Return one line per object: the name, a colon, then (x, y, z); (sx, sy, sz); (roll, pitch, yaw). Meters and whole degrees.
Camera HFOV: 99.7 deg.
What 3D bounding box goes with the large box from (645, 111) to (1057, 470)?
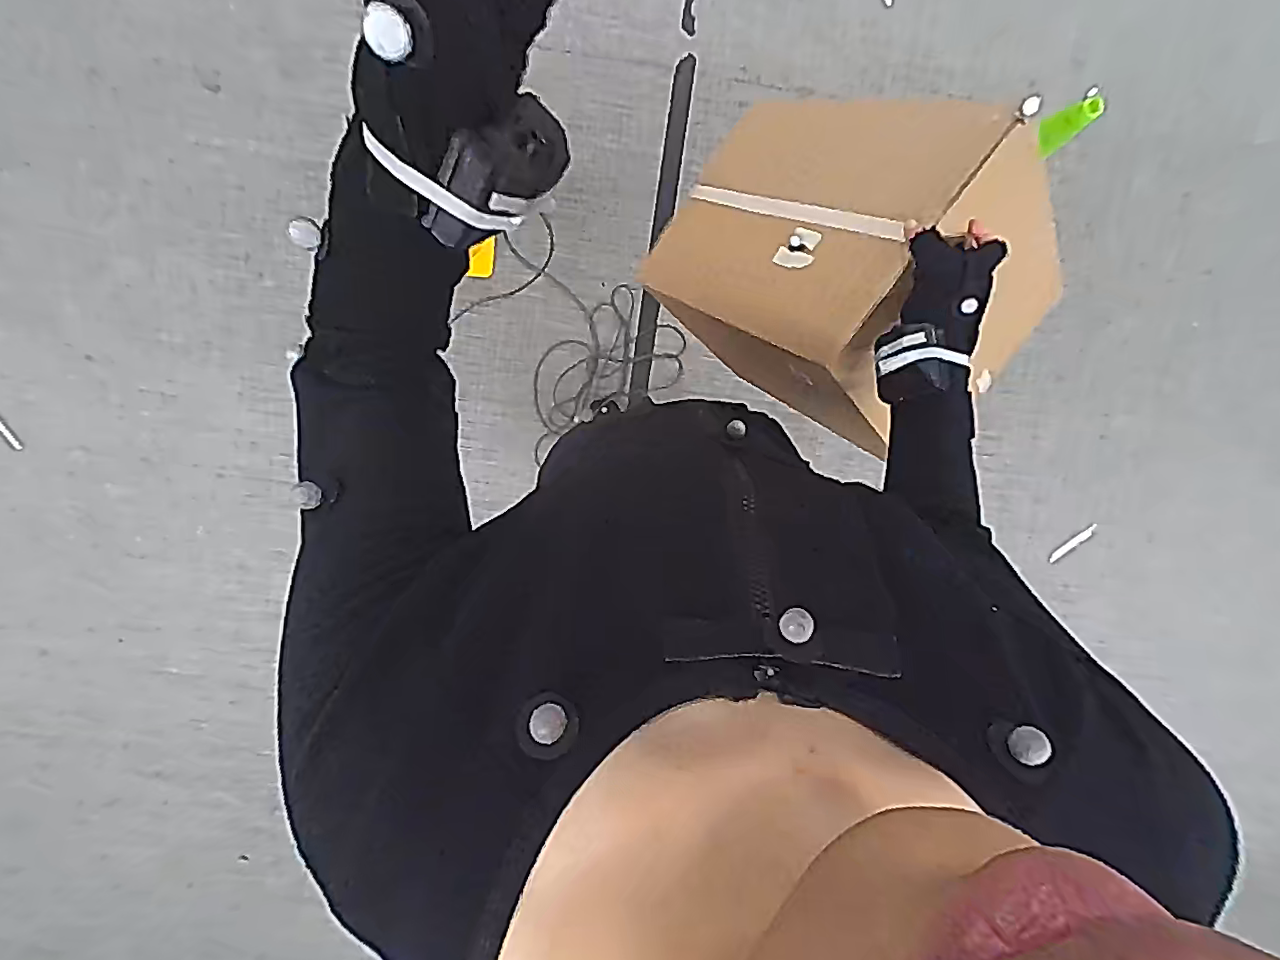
large box: (0.286, -0.279, 0.787); (0.320, 0.408, 0.320); (30, 101, -43)
